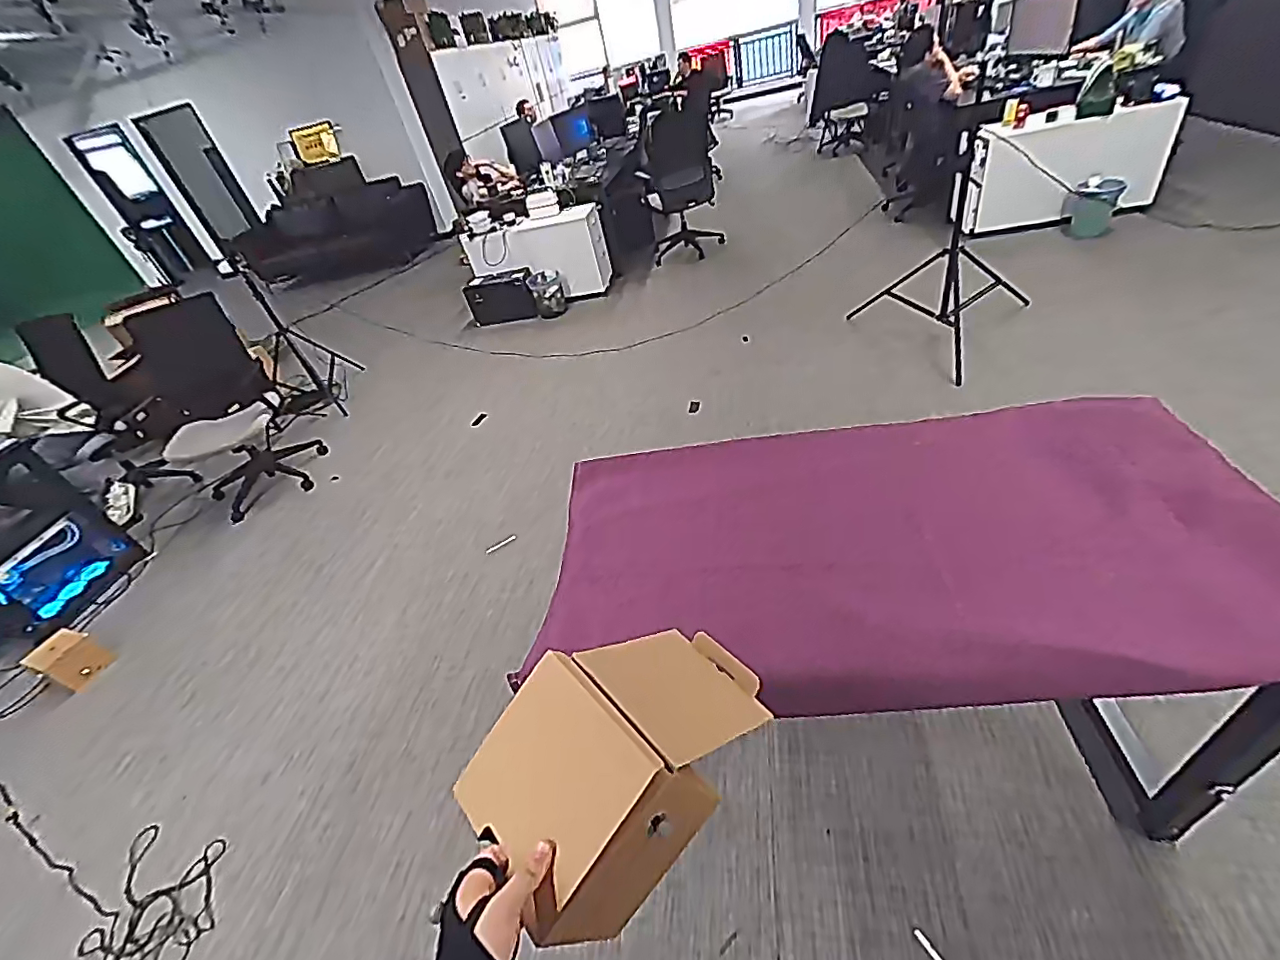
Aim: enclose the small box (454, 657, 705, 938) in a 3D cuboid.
[{"bbox_3d":[-0.050,0.328,0.570,0.179,0.176,0.168,-46,48,-13],"label":"small box"}]
